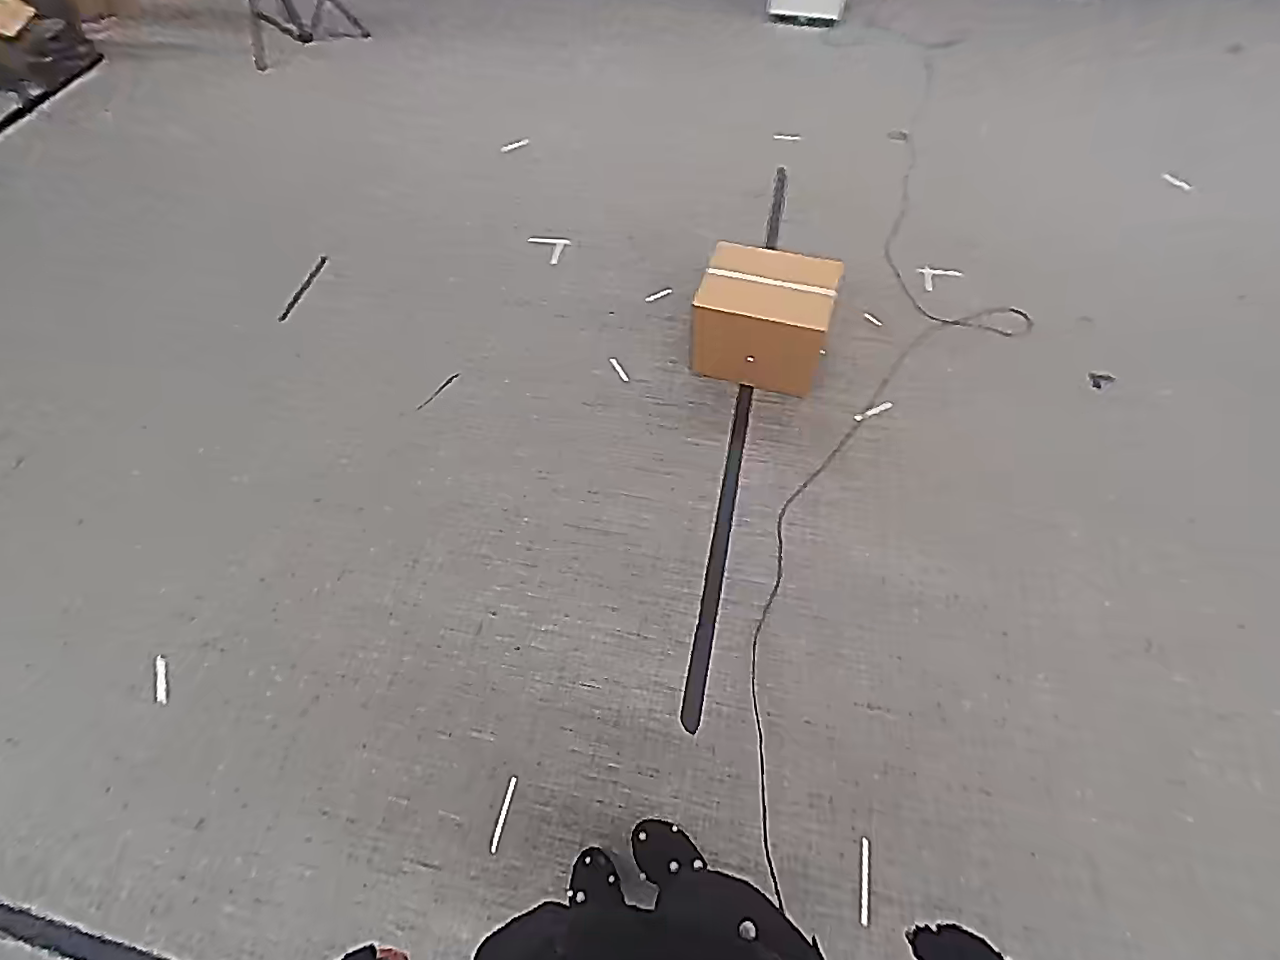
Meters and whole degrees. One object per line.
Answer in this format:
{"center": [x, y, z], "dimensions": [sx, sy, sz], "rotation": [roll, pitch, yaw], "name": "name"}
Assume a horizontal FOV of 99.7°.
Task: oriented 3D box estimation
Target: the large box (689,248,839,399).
{"center": [0.395, -0.513, 1.790], "dimensions": [0.408, 0.320, 0.320], "rotation": [16, 62, 12], "name": "large box"}
